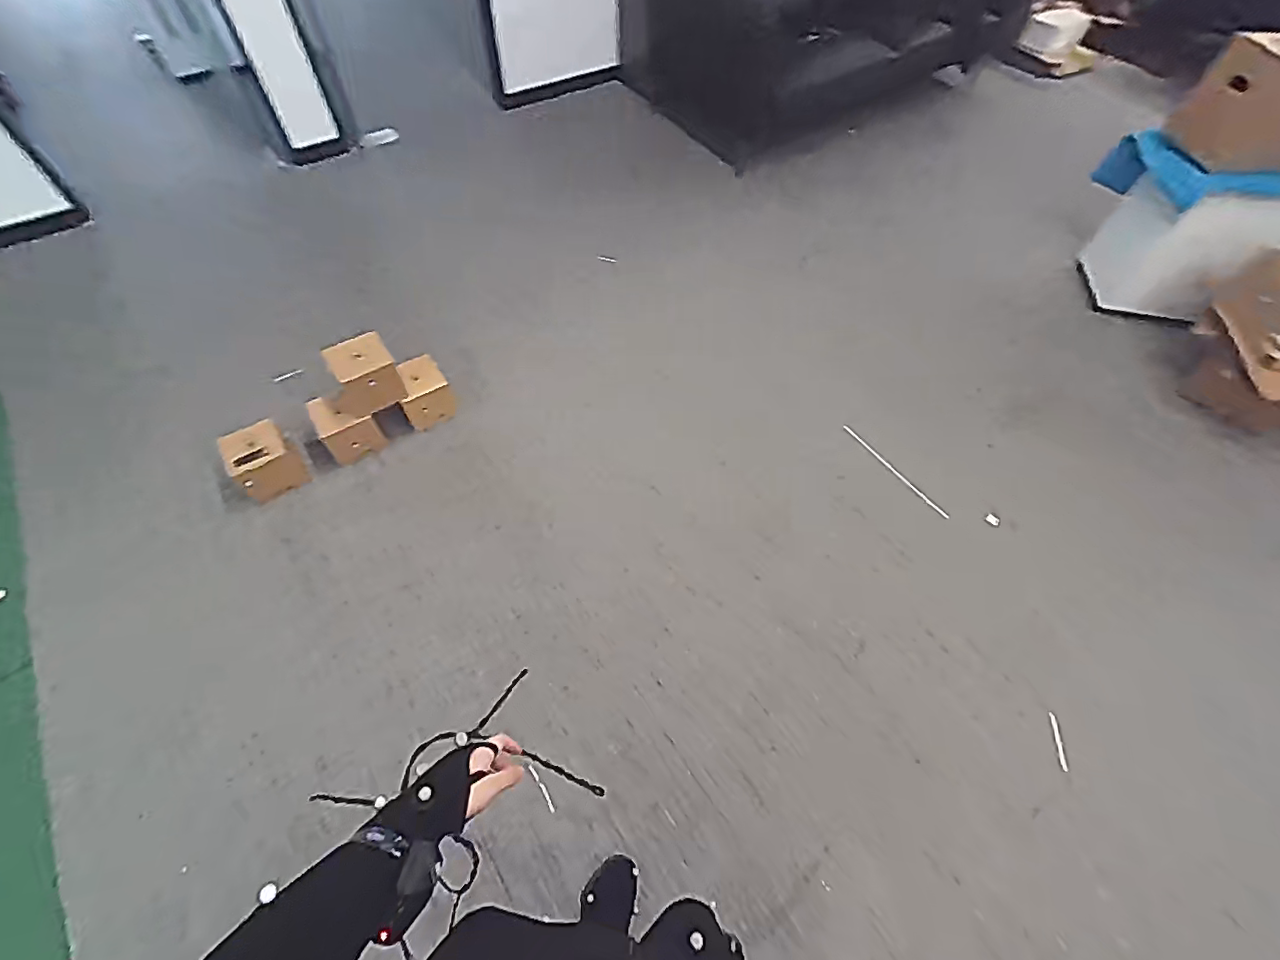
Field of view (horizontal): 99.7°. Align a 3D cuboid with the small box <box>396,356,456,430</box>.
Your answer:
[{"bbox_3d":[-0.783,-0.303,1.940,0.168,0.176,0.179,-29,63,-20],"label":"small box"}]

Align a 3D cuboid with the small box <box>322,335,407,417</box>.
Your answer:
[{"bbox_3d":[-0.889,-0.334,1.759,0.179,0.176,0.168,-30,64,-22],"label":"small box"}]
